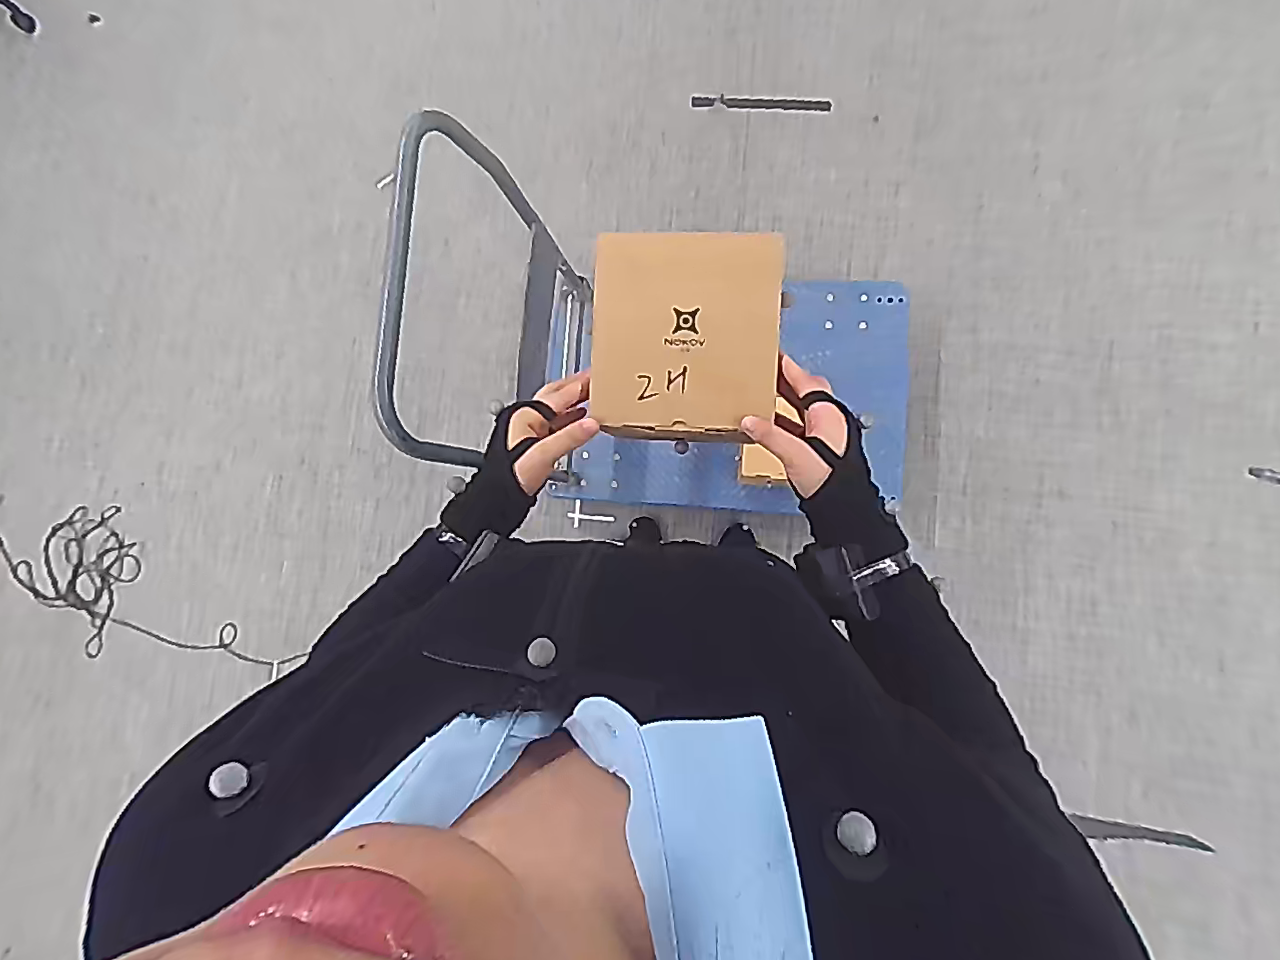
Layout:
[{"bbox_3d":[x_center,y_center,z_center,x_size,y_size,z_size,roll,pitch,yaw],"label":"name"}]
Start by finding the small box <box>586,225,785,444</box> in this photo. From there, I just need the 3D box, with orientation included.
[{"bbox_3d":[0.046,-0.133,0.548,0.168,0.176,0.179,3,90,7],"label":"small box"}]

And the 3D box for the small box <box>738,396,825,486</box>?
[{"bbox_3d":[0.313,-0.084,1.221,0.168,0.176,0.179,4,86,8],"label":"small box"}]
